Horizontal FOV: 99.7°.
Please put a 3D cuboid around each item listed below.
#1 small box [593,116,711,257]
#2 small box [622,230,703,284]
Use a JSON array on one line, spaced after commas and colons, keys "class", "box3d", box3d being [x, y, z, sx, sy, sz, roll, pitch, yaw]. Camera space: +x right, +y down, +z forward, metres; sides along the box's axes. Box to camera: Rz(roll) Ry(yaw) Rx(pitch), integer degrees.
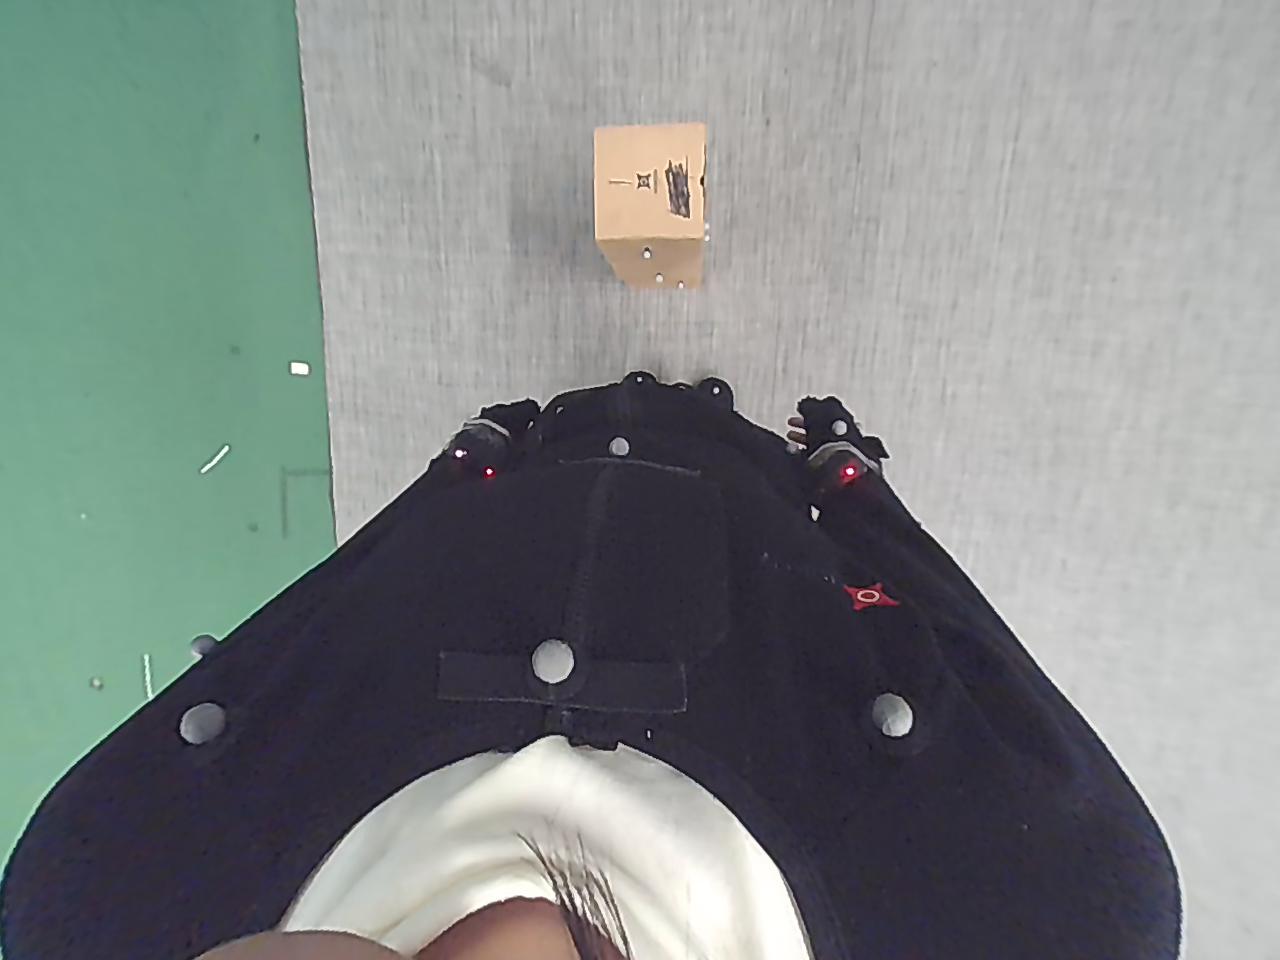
[{"class": "small box", "box3d": [0.022, -0.486, 0.918, 0.179, 0.176, 0.168, 5, 100, 4]}, {"class": "small box", "box3d": [0.056, -0.550, 1.240, 0.179, 0.176, 0.168, 2, 101, 6]}]
